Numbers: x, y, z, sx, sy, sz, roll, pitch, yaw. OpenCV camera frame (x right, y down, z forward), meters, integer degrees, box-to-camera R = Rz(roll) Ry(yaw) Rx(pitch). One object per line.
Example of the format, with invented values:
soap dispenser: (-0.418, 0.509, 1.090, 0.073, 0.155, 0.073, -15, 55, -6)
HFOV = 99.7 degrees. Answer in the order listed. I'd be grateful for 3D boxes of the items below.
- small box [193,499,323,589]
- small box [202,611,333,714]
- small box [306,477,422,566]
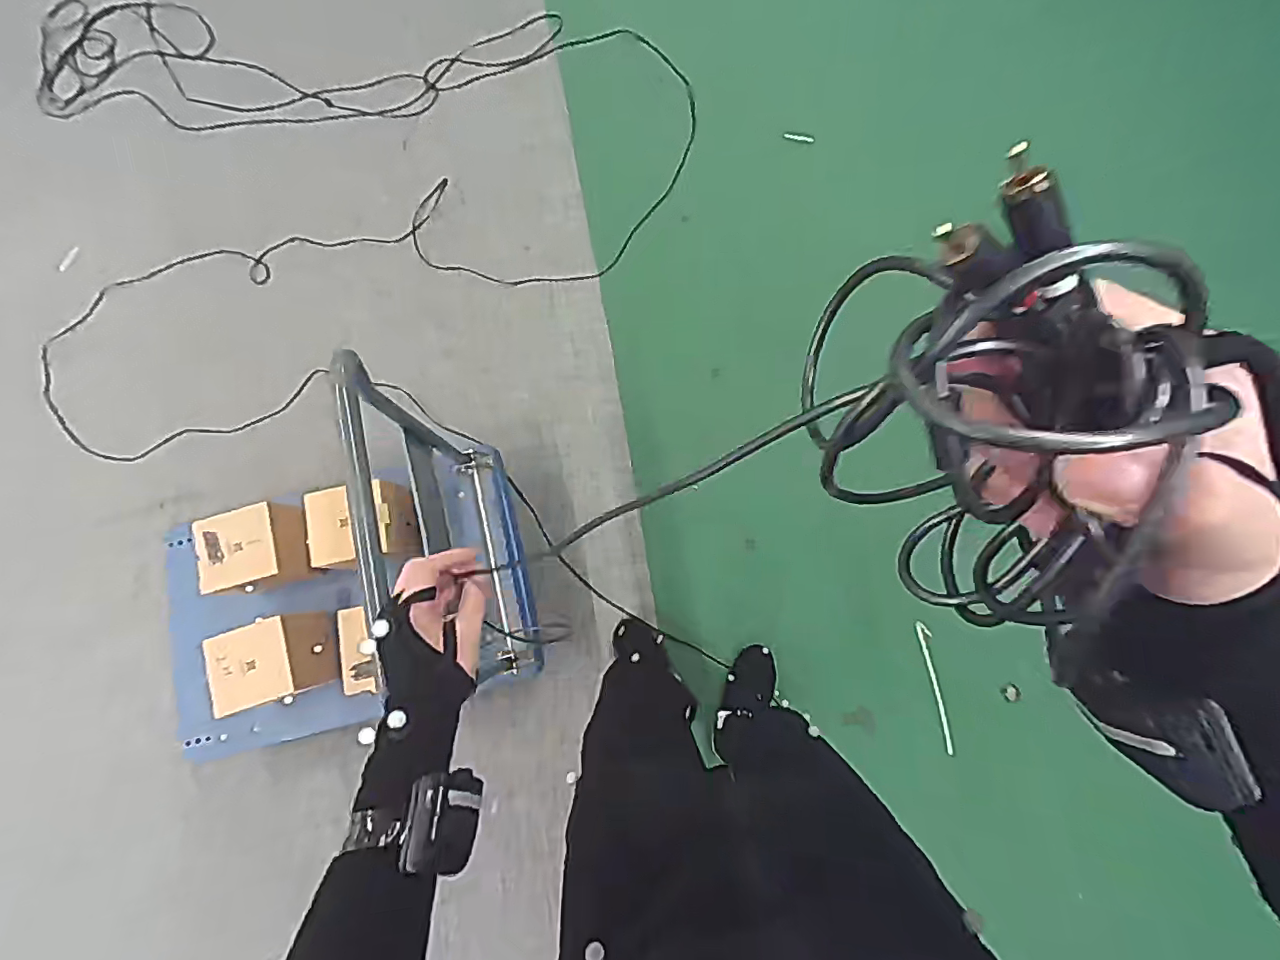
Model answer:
small box: (-0.875, 0.153, 1.250, 0.179, 0.176, 0.168, -15, 80, 0)
small box: (-0.814, 0.395, 1.202, 0.179, 0.176, 0.168, -18, 78, 0)
small box: (-0.631, 0.102, 1.247, 0.179, 0.176, 0.168, -12, 79, 1)
